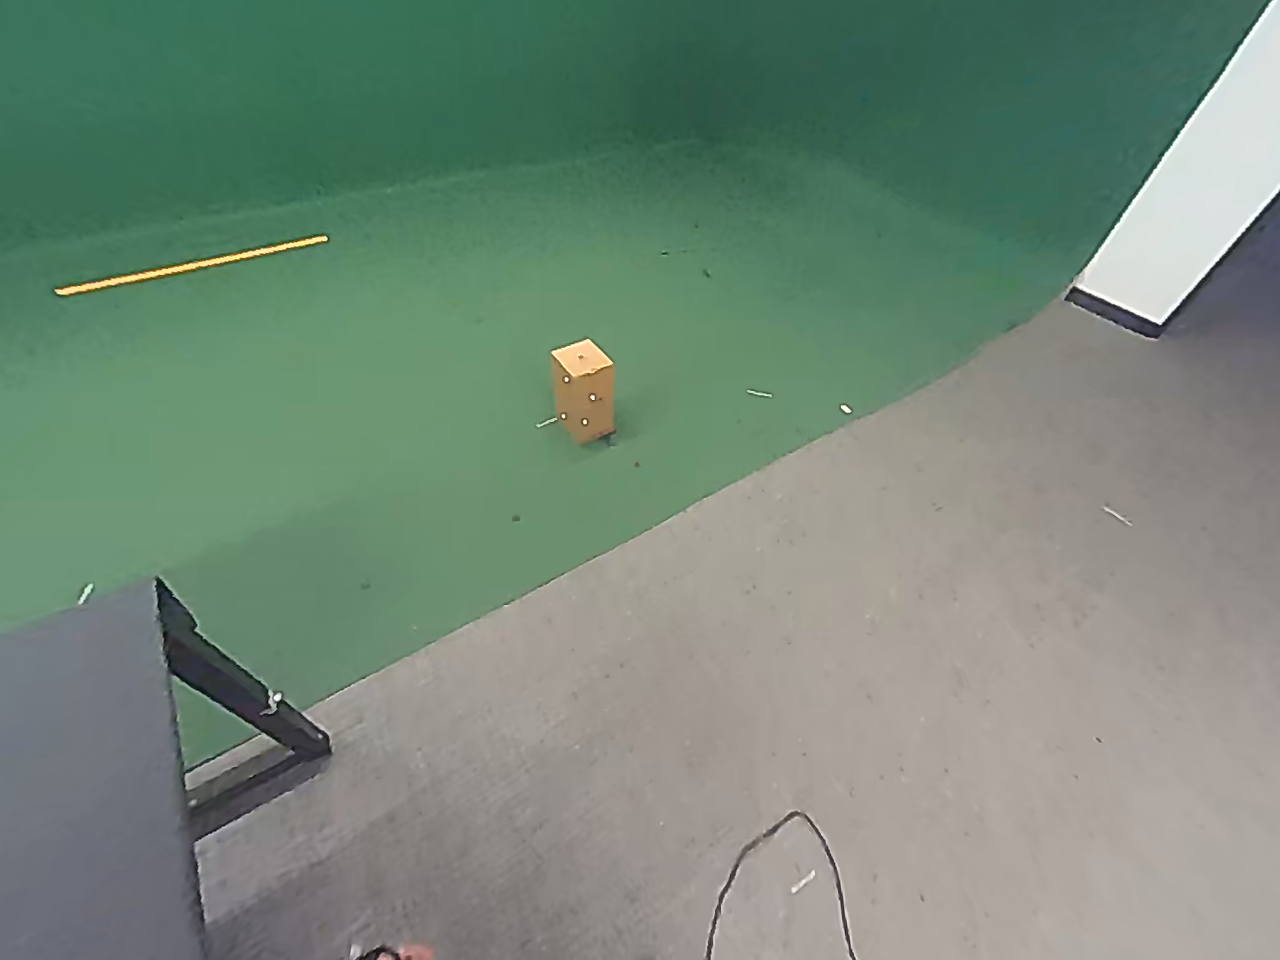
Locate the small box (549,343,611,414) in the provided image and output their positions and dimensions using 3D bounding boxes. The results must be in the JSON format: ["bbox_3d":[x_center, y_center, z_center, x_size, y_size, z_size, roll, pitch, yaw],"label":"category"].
[{"bbox_3d":[-0.222,-0.370,1.986,0.168,0.176,0.179,-25,54,-25],"label":"small box"}]
